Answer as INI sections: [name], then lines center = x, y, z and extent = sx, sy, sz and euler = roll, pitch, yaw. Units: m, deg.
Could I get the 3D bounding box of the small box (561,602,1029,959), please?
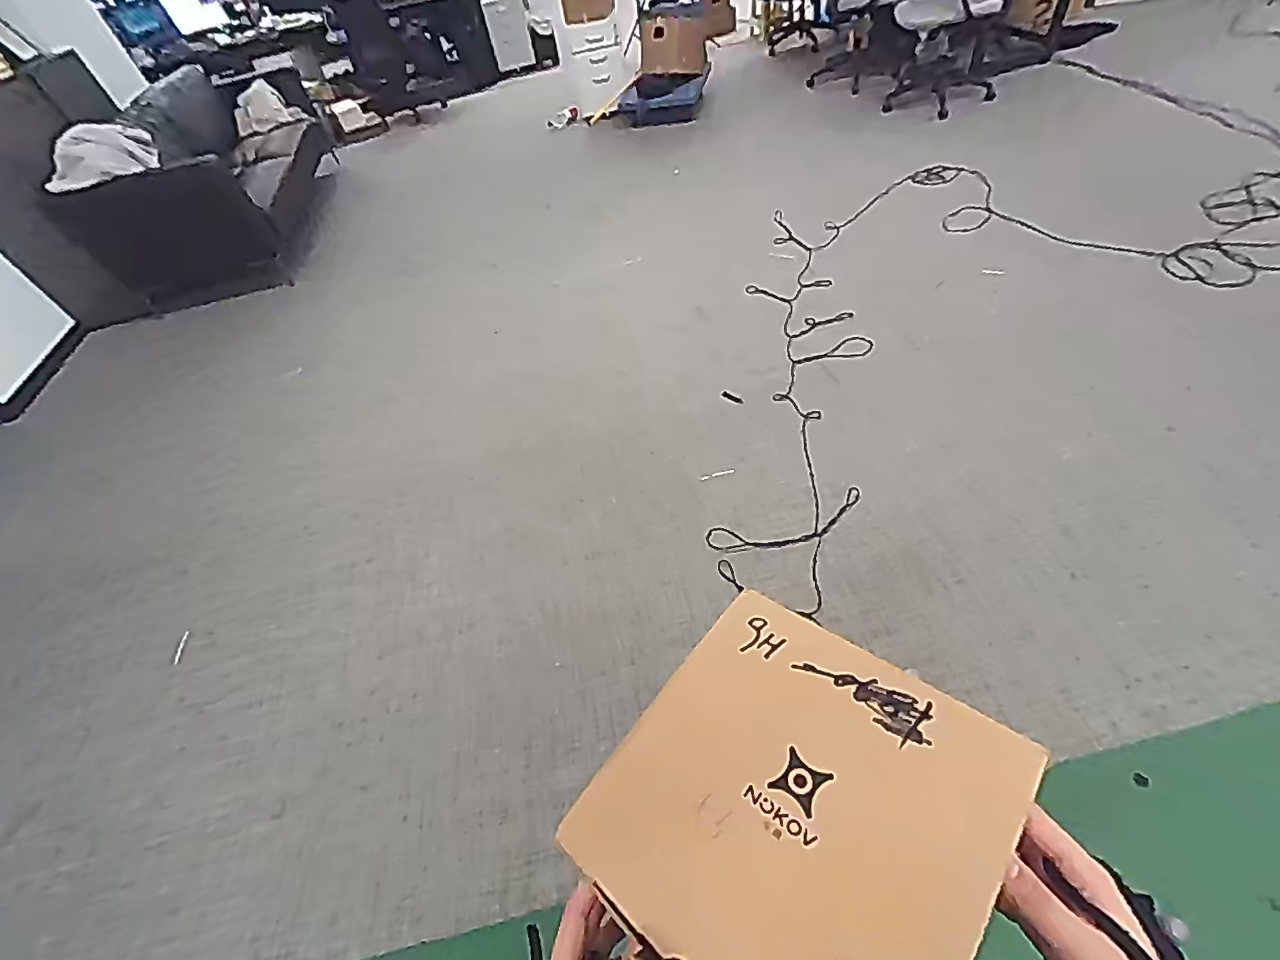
[small box]
center = 0.090, 0.215, 0.319
extent = 0.168, 0.176, 0.179
euler = 25, 57, 37
